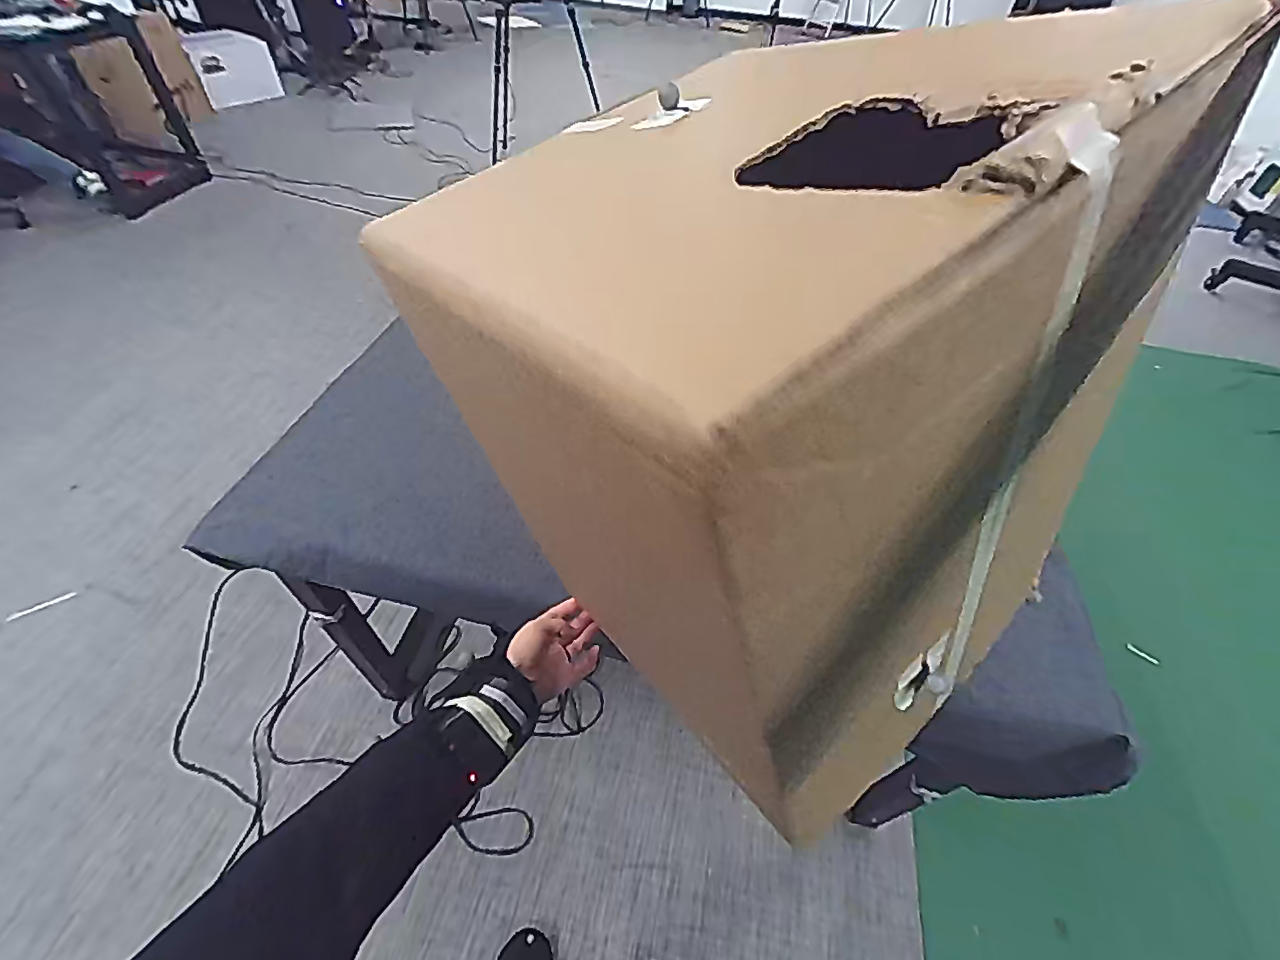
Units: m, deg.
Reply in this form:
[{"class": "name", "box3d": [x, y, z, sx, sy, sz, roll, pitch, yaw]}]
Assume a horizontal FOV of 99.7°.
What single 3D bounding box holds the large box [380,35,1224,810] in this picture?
[{"class": "large box", "box3d": [0.090, -0.034, 0.414, 0.320, 0.408, 0.320, -38, 48, -17]}]
